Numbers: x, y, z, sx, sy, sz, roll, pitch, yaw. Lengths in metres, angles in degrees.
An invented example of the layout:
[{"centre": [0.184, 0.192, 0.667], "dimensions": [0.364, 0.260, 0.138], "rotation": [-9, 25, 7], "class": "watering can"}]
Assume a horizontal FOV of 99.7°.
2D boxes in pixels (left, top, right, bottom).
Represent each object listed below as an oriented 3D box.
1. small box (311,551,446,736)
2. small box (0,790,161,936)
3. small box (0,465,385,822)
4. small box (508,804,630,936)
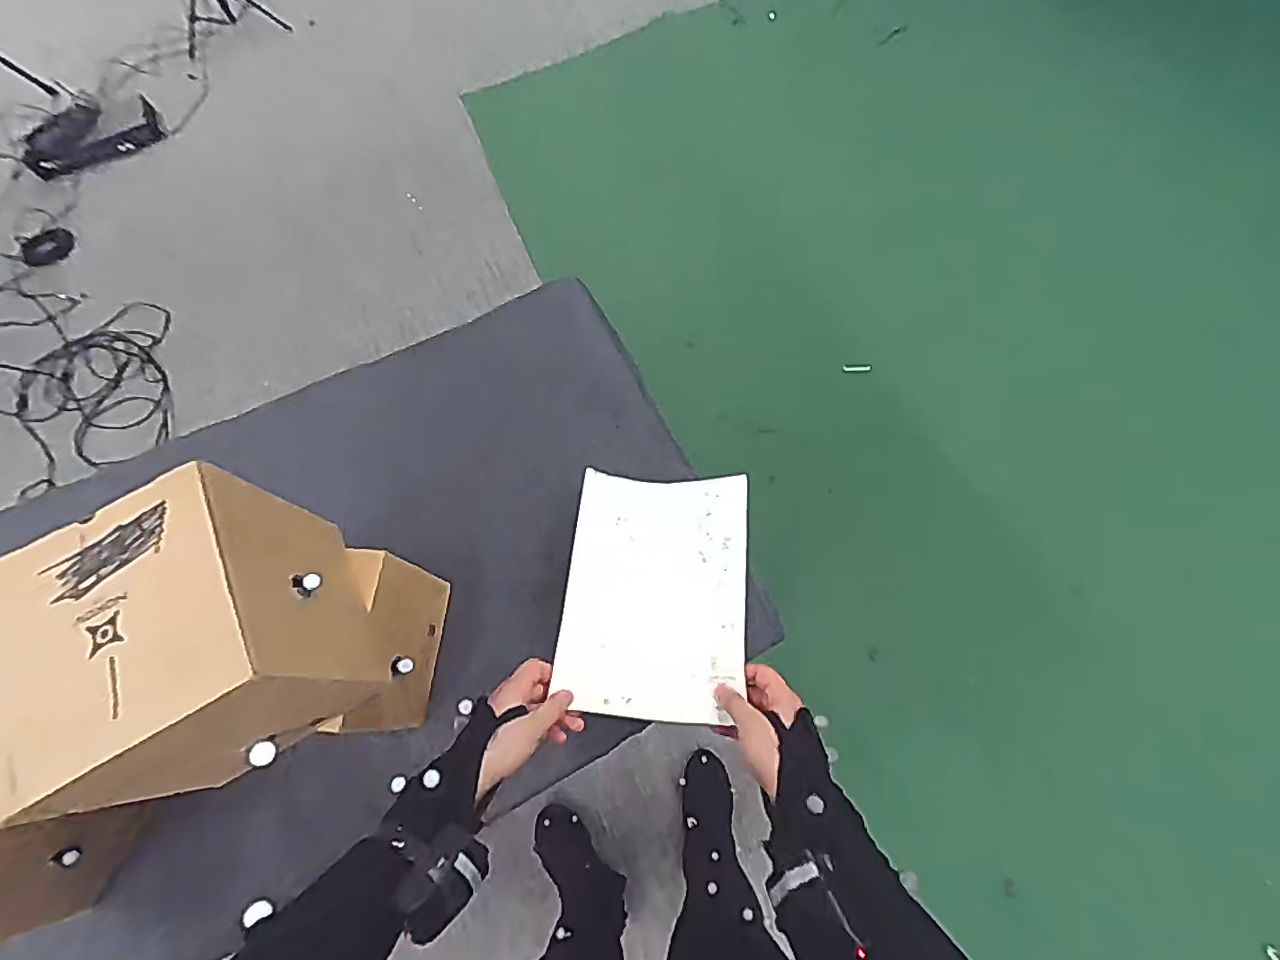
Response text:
[{"centre": [-0.333, 0.172, 0.582], "dimensions": [0.179, 0.176, 0.168], "rotation": [2, 68, 6], "class": "small box"}, {"centre": [-0.638, 0.328, 0.544], "dimensions": [0.179, 0.176, 0.168], "rotation": [21, 71, 12], "class": "small box"}, {"centre": [-0.338, 0.123, 0.424], "dimensions": [0.168, 0.176, 0.179], "rotation": [-30, 69, -6], "class": "small box"}, {"centre": [-0.136, 0.784, 1.090], "dimensions": [0.176, 0.168, 0.179], "rotation": [28, 45, -15], "class": "small box"}]
